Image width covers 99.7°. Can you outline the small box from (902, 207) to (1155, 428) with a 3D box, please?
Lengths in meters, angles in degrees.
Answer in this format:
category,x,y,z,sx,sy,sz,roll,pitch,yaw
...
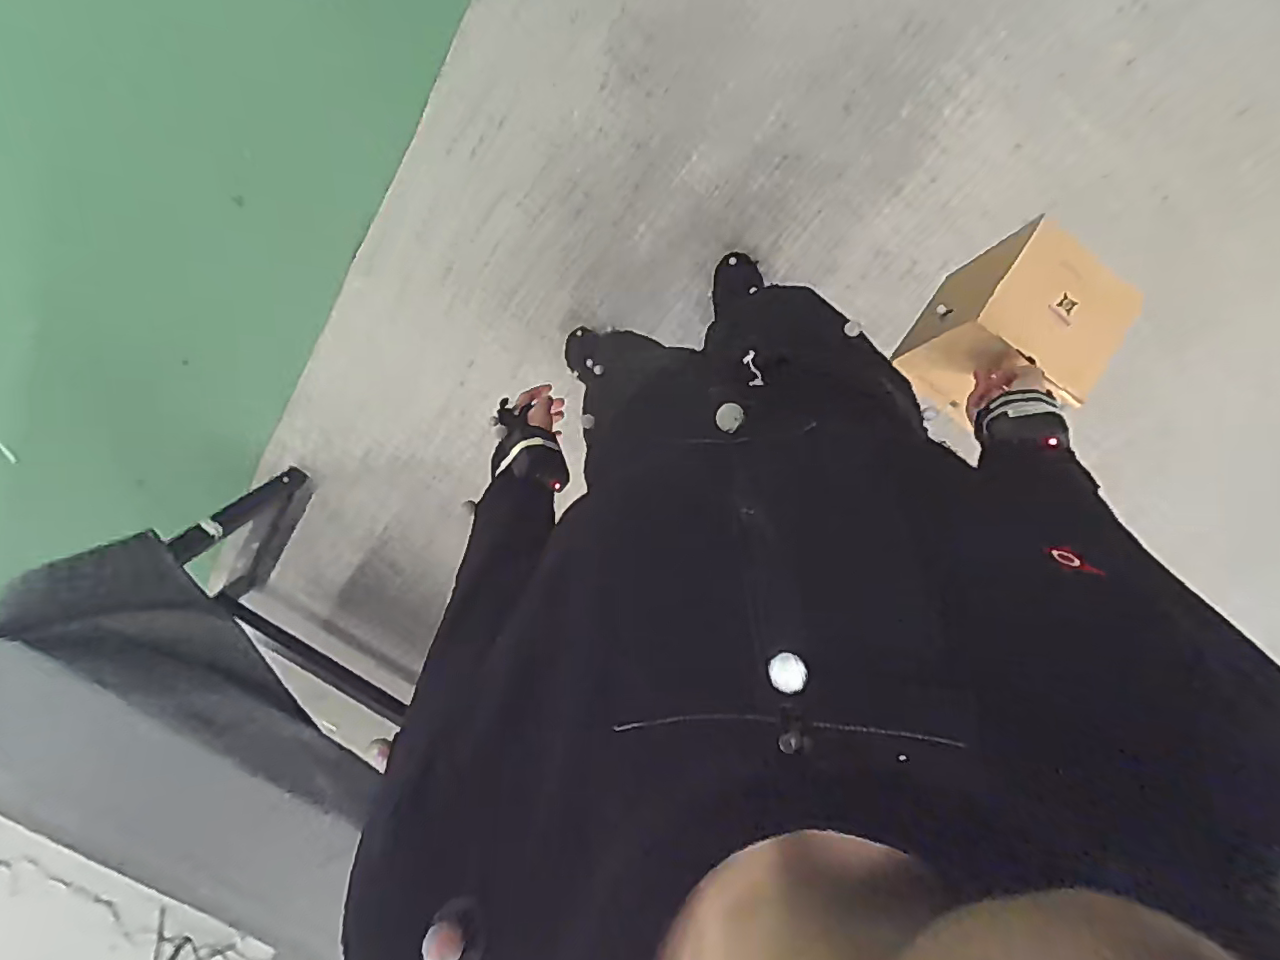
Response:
category,x,y,z,sx,sy,sz,roll,pitch,yaw
small box,0.471,-0.188,0.685,0.168,0.176,0.179,38,79,-5
